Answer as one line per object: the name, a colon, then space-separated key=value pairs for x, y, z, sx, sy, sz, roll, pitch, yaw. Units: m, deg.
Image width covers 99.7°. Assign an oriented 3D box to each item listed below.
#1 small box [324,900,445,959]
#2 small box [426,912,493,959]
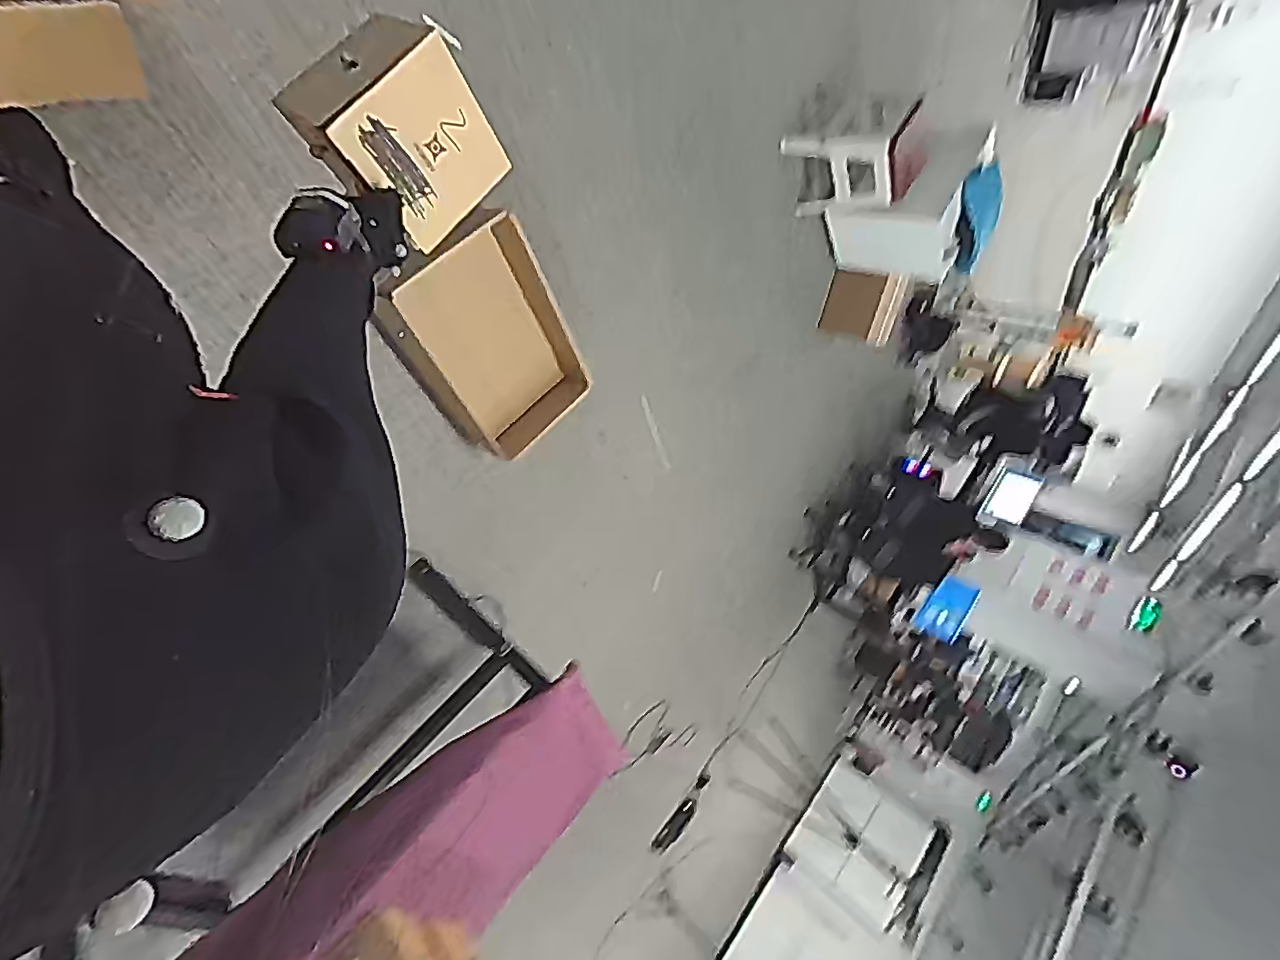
small box: x=-0.537 y=1.044 z=1.150 sx=0.168 sy=0.176 sz=0.179 roll=-42 pitch=139 yaw=-27
small box: x=-0.487 y=1.197 z=1.313 sx=0.168 sy=0.176 sz=0.179 roll=-46 pitch=141 yaw=-22
